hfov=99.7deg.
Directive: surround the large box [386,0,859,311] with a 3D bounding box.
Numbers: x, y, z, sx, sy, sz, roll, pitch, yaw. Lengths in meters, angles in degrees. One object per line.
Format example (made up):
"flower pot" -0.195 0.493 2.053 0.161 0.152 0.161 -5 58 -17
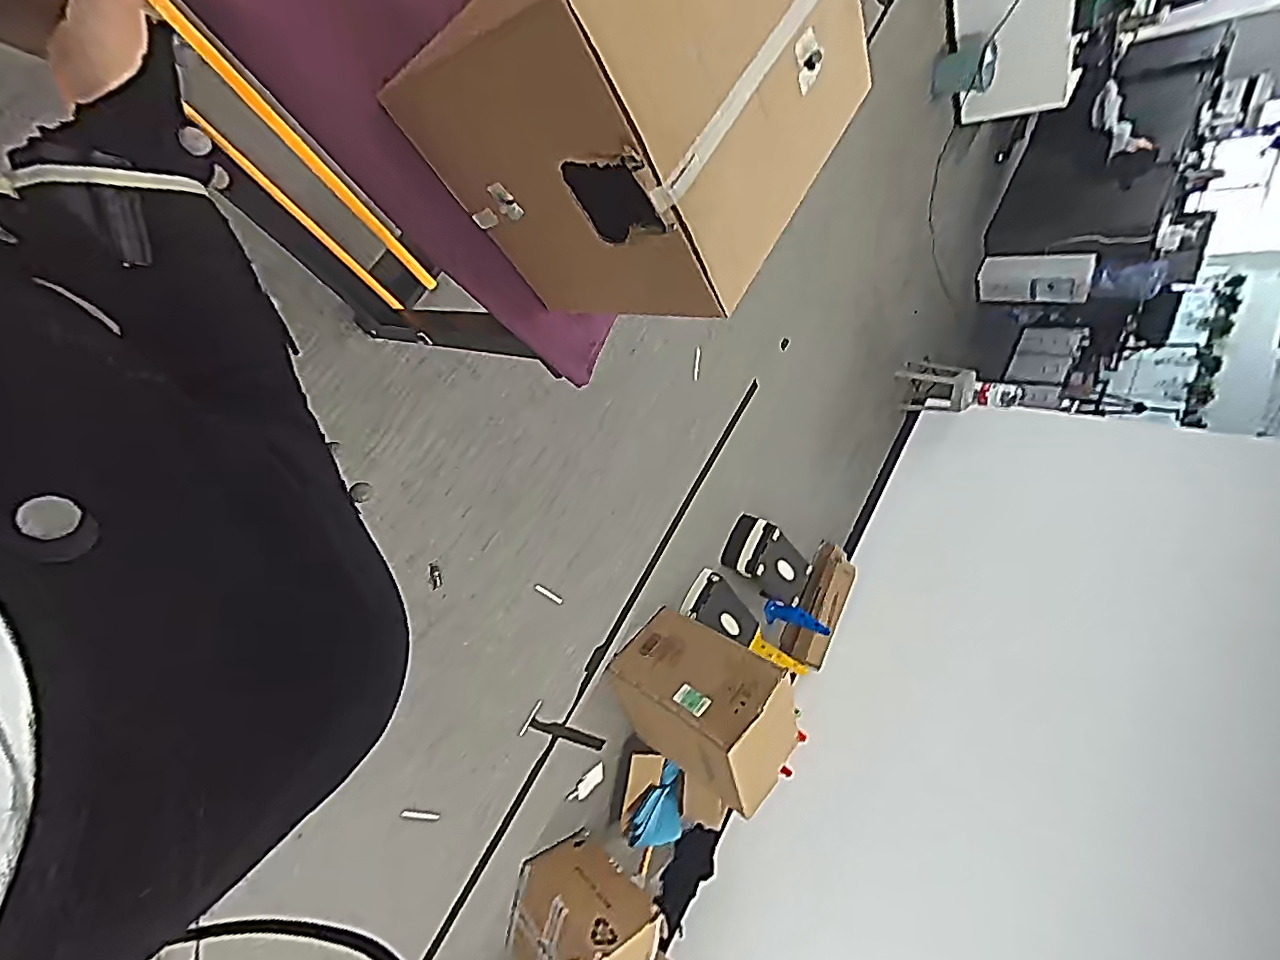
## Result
"large box" 0.003 -0.451 0.624 0.408 0.320 0.320 -60 139 -16
